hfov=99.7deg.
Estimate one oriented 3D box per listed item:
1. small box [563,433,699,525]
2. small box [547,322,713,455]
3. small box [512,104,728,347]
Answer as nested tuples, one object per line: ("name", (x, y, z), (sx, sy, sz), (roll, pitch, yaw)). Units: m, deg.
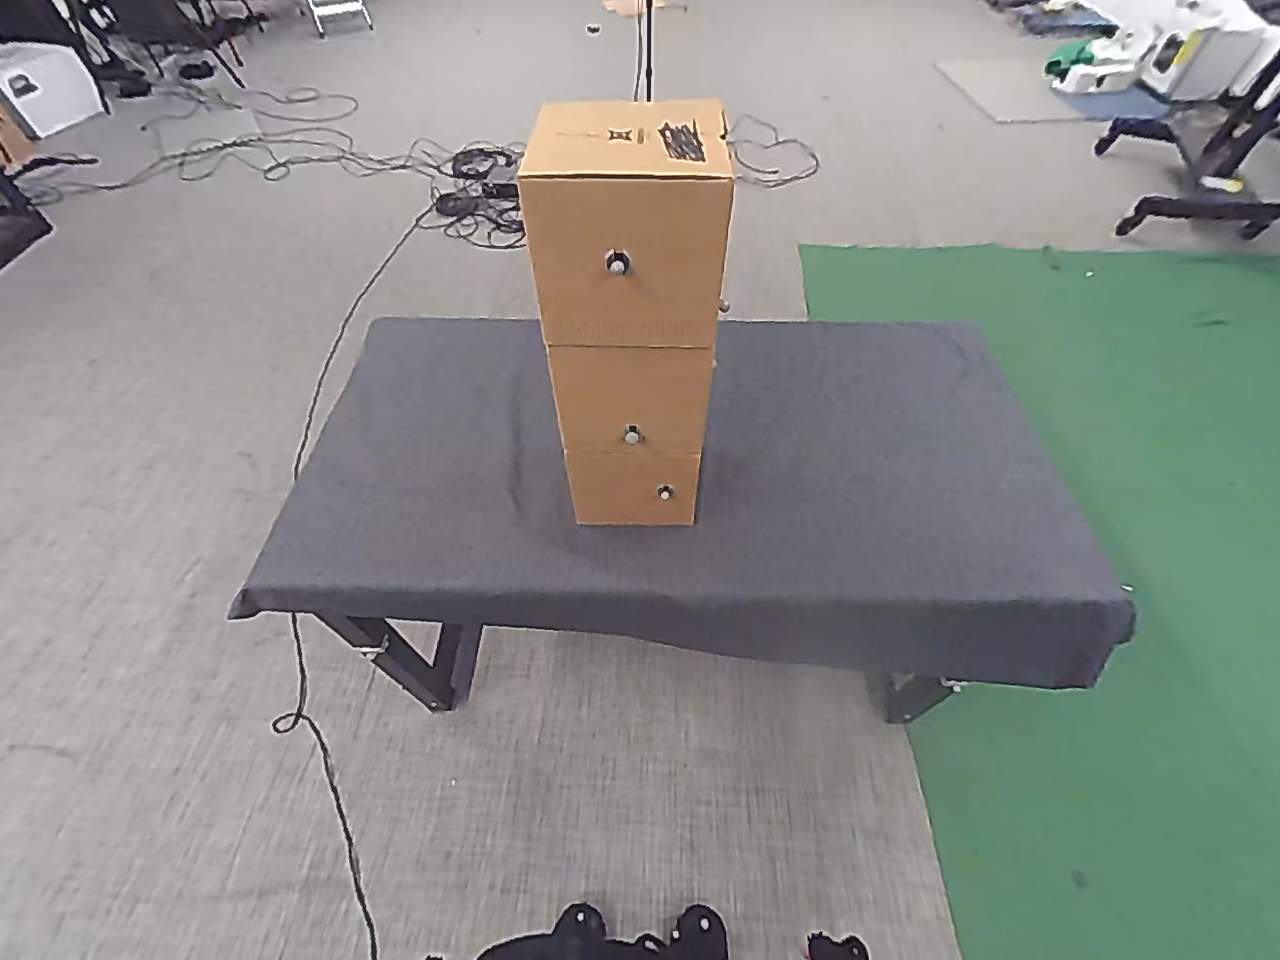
("small box", (-0.009, -0.045, 0.799), (0.179, 0.176, 0.168), (-1, 51, 2))
("small box", (-0.011, -0.144, 0.672), (0.179, 0.176, 0.168), (-2, 53, 0))
("small box", (-0.013, -0.248, 0.541), (0.179, 0.176, 0.168), (1, 52, 2))
